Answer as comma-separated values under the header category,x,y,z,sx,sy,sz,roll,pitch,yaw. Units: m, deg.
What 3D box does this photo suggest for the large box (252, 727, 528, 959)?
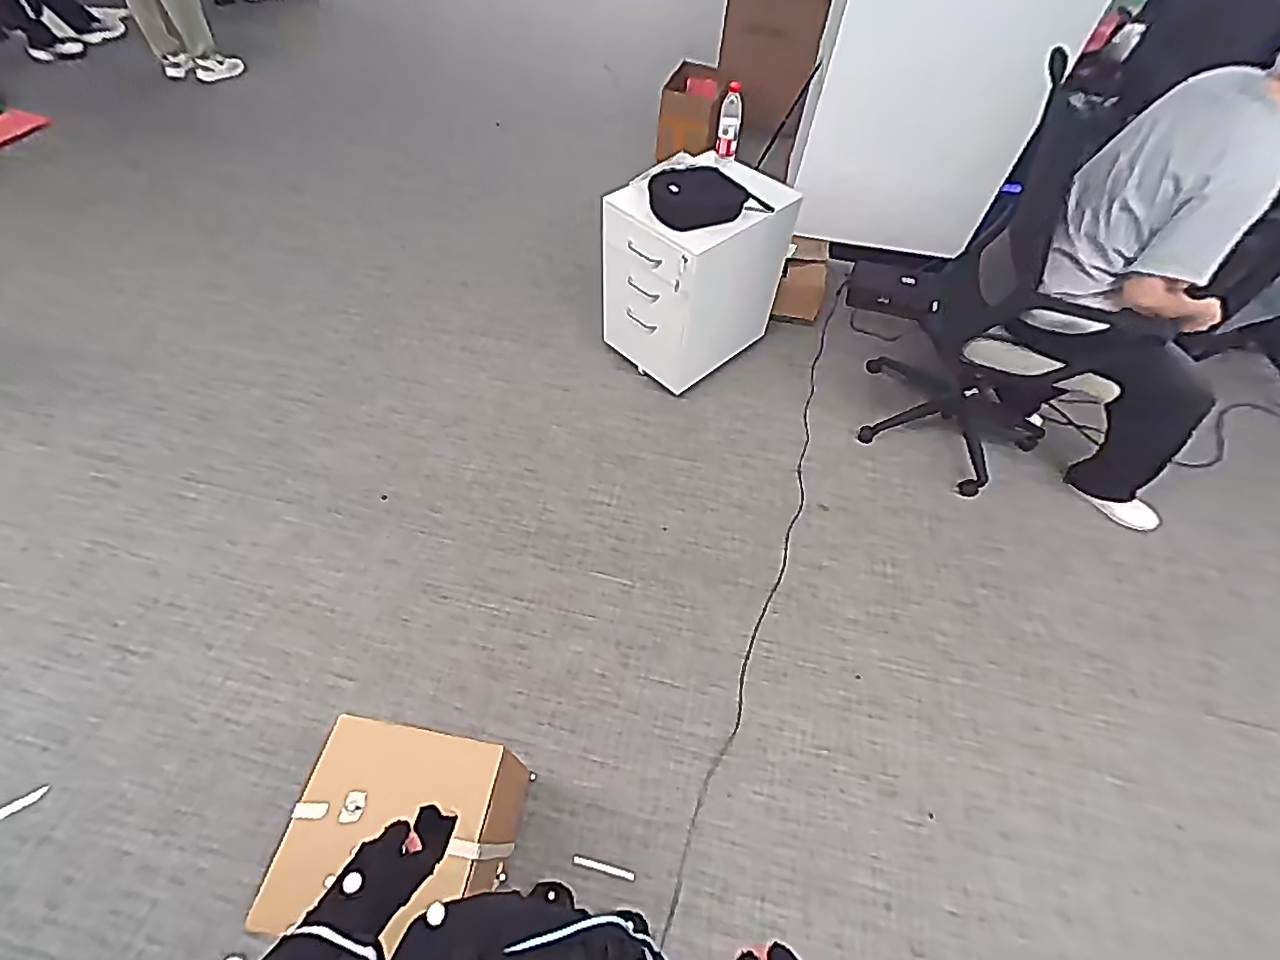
category,x,y,z,sx,sy,sz,roll,pitch,yaw
large box,-0.428,0.693,1.046,0.320,0.408,0.320,11,56,3
